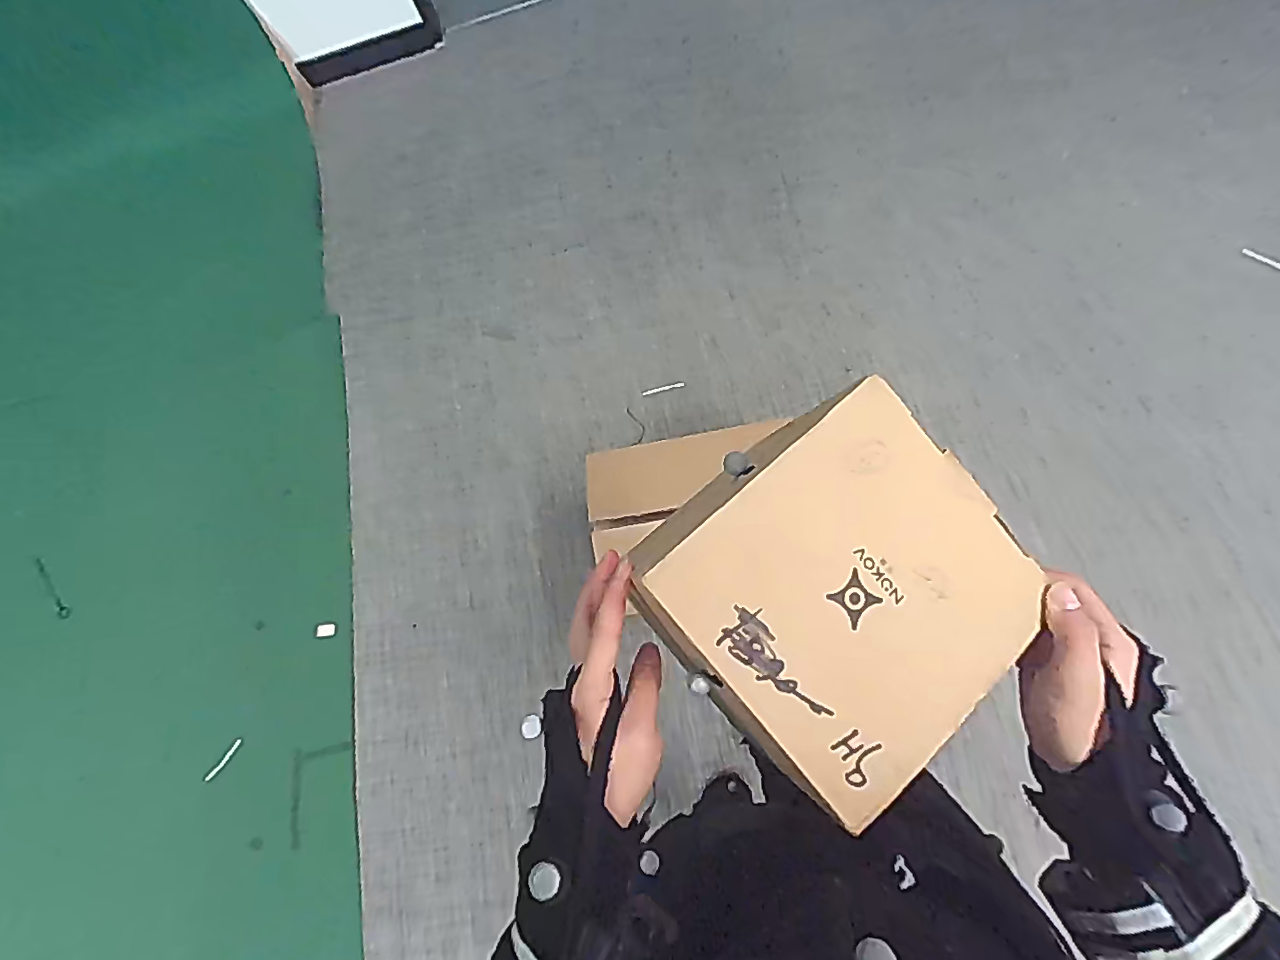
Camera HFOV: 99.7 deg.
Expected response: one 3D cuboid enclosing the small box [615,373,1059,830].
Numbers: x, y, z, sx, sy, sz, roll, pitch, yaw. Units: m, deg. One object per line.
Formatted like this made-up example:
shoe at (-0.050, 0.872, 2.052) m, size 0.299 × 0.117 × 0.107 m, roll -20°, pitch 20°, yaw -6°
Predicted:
small box at (0.102, 0.065, 0.355) m, size 0.179 × 0.176 × 0.168 m, roll -39°, pitch 89°, yaw -13°
